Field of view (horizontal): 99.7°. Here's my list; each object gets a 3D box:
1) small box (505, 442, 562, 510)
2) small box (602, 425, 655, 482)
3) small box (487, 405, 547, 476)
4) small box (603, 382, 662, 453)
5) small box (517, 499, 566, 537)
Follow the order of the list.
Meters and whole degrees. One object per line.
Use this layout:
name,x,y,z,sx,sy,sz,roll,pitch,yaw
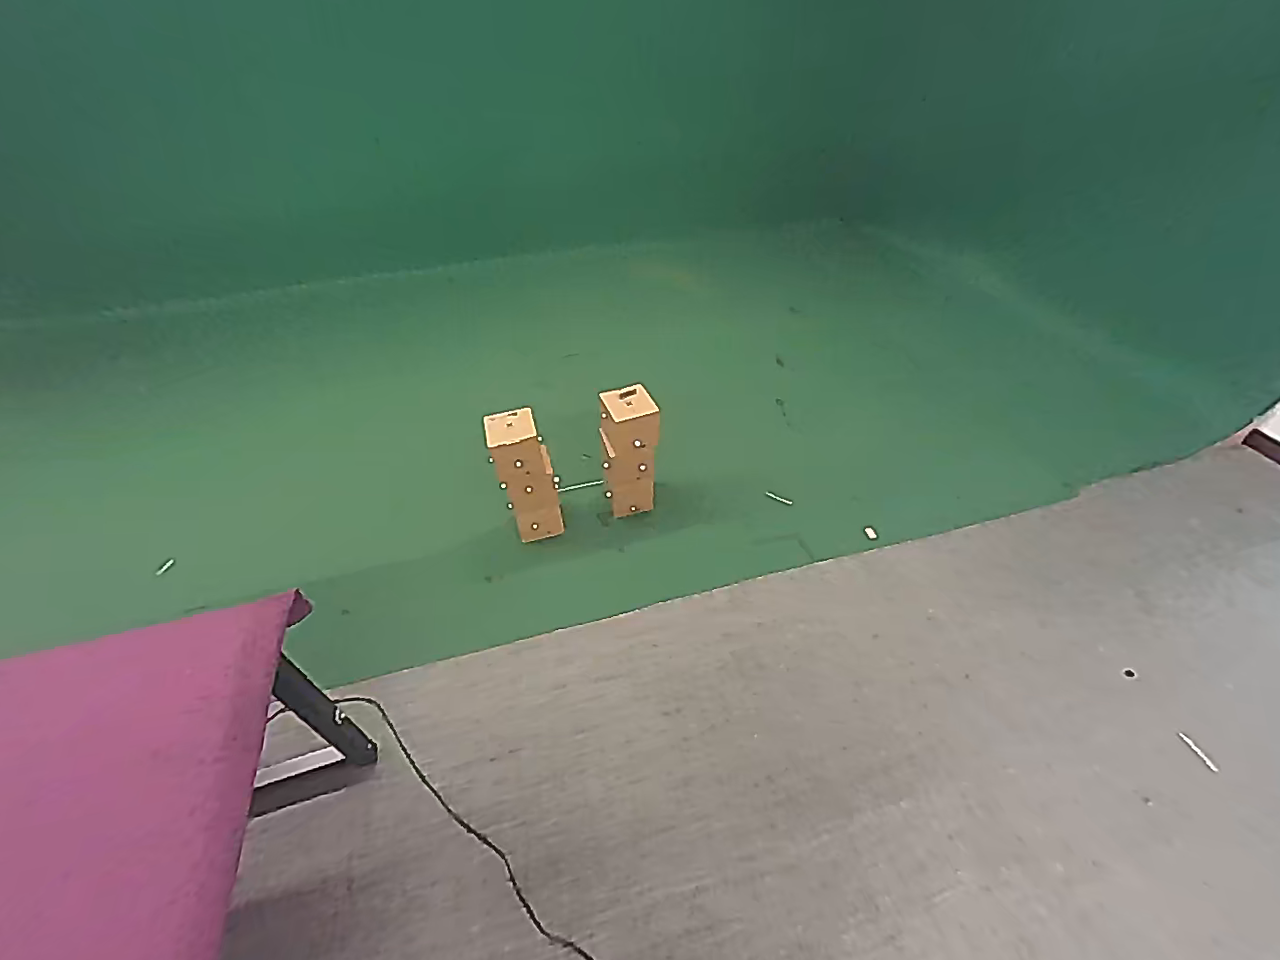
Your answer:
small box,-0.398,-0.010,1.992,0.179,0.176,0.168,-13,46,-11
small box,-0.042,-0.108,2.074,0.168,0.176,0.179,-12,46,-11
small box,-0.426,-0.132,1.883,0.168,0.176,0.179,-13,46,-9
small box,-0.030,-0.226,1.961,0.168,0.176,0.179,-16,49,-15
small box,-0.390,0.103,2.111,0.168,0.176,0.179,-14,45,-10
